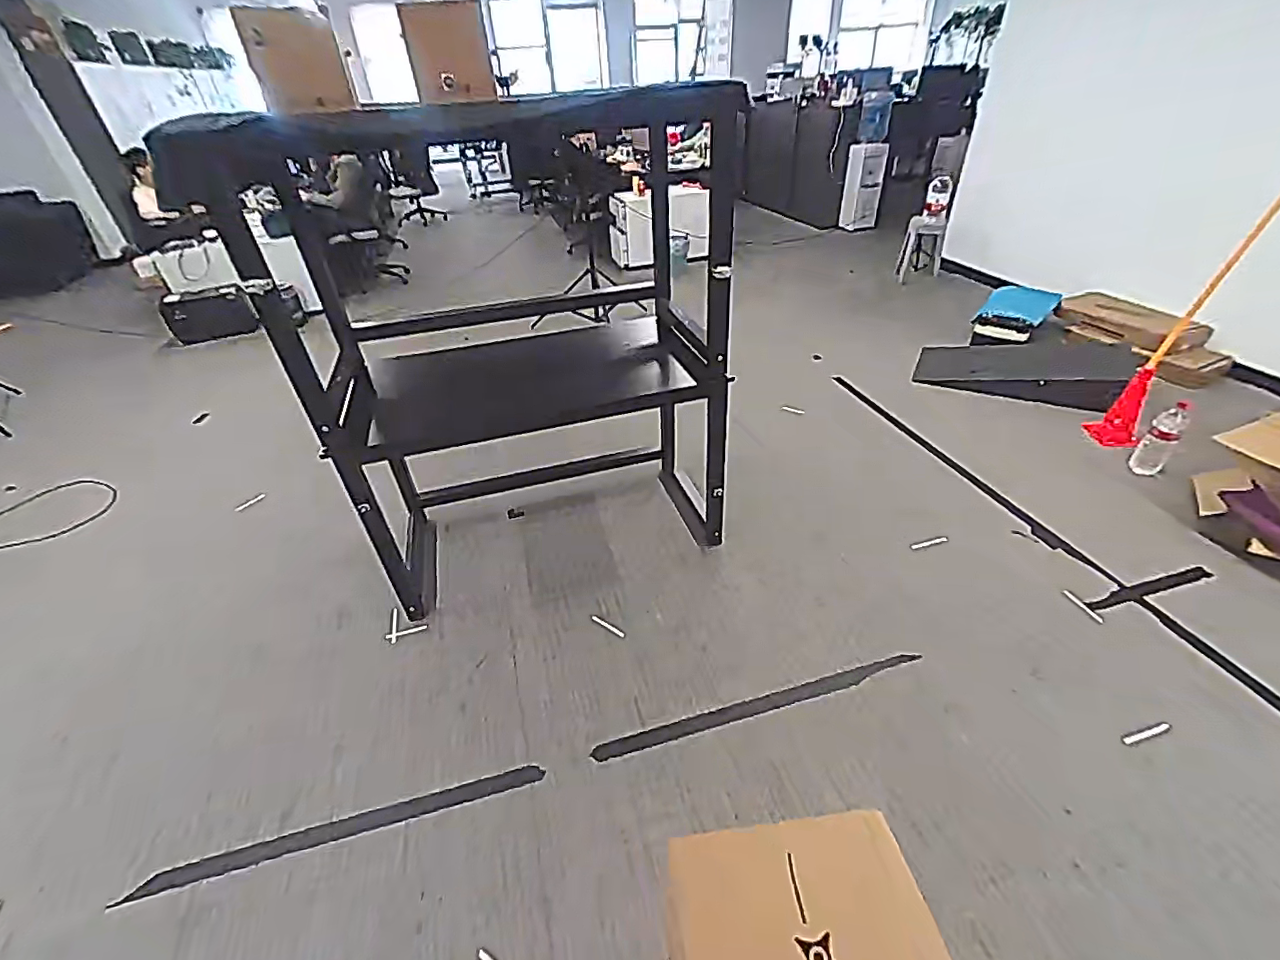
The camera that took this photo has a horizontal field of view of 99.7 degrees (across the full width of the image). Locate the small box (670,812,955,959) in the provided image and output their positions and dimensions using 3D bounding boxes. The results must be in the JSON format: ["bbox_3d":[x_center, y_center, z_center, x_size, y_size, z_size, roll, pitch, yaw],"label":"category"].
[{"bbox_3d":[0.115,0.368,0.372,0.168,0.176,0.179,-4,34,-5],"label":"small box"}]

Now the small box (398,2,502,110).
[{"bbox_3d":[-0.396,-0.897,1.155,0.168,0.176,0.179,-11,36,-8],"label":"small box"}]
